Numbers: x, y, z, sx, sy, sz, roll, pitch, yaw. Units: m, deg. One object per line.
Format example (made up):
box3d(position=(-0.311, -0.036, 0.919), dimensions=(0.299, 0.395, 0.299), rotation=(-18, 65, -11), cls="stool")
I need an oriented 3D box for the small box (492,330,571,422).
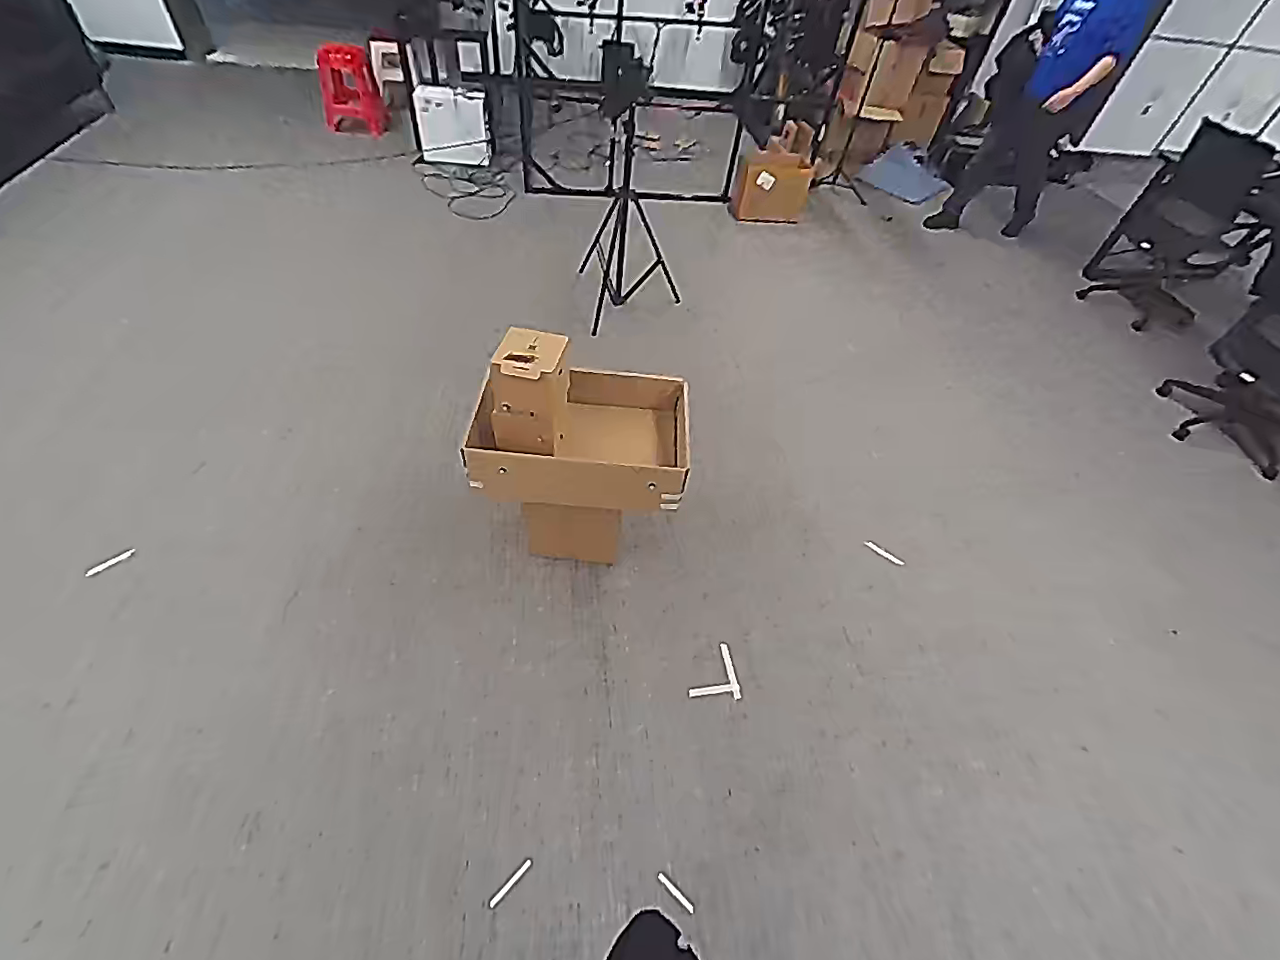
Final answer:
box3d(position=(-0.287, -0.281, 1.477), dimensions=(0.168, 0.176, 0.179), rotation=(11, 48, 2), cls="small box")
